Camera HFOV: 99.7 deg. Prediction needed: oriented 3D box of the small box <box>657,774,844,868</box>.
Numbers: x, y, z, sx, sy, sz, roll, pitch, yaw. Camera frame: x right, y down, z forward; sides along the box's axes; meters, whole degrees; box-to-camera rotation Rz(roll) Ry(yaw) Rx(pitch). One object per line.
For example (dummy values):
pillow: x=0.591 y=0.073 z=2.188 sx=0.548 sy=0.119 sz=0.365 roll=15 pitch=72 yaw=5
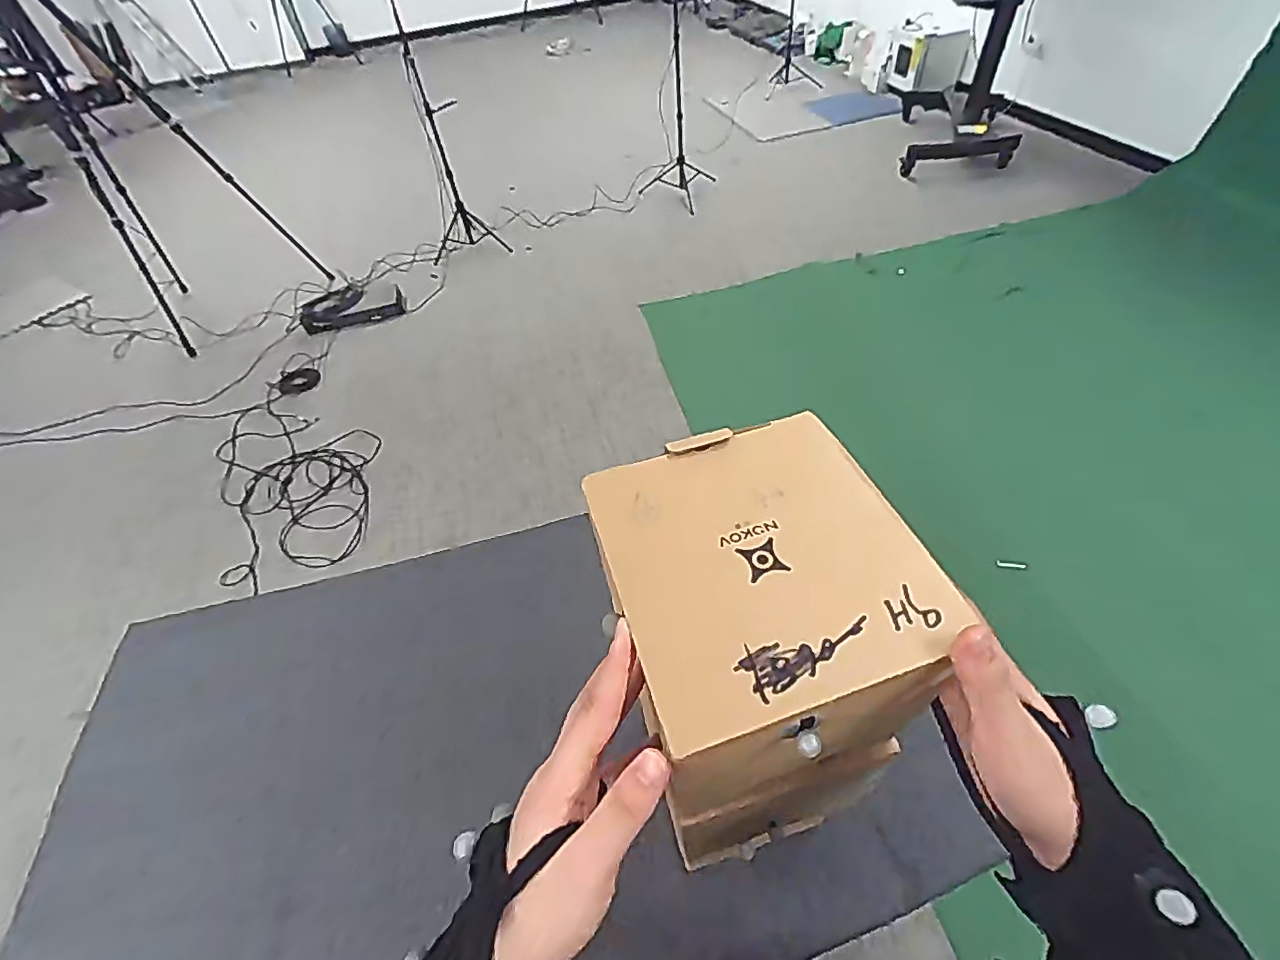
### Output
small box: x=0.098 y=0.305 z=0.601 sx=0.168 sy=0.176 sz=0.179 roll=-15 pitch=49 yaw=-6

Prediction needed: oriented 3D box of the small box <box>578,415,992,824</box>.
small box: x=0.067 y=0.091 z=0.351 sx=0.168 sy=0.176 sz=0.179 roll=-16 pitch=51 yaw=-7
